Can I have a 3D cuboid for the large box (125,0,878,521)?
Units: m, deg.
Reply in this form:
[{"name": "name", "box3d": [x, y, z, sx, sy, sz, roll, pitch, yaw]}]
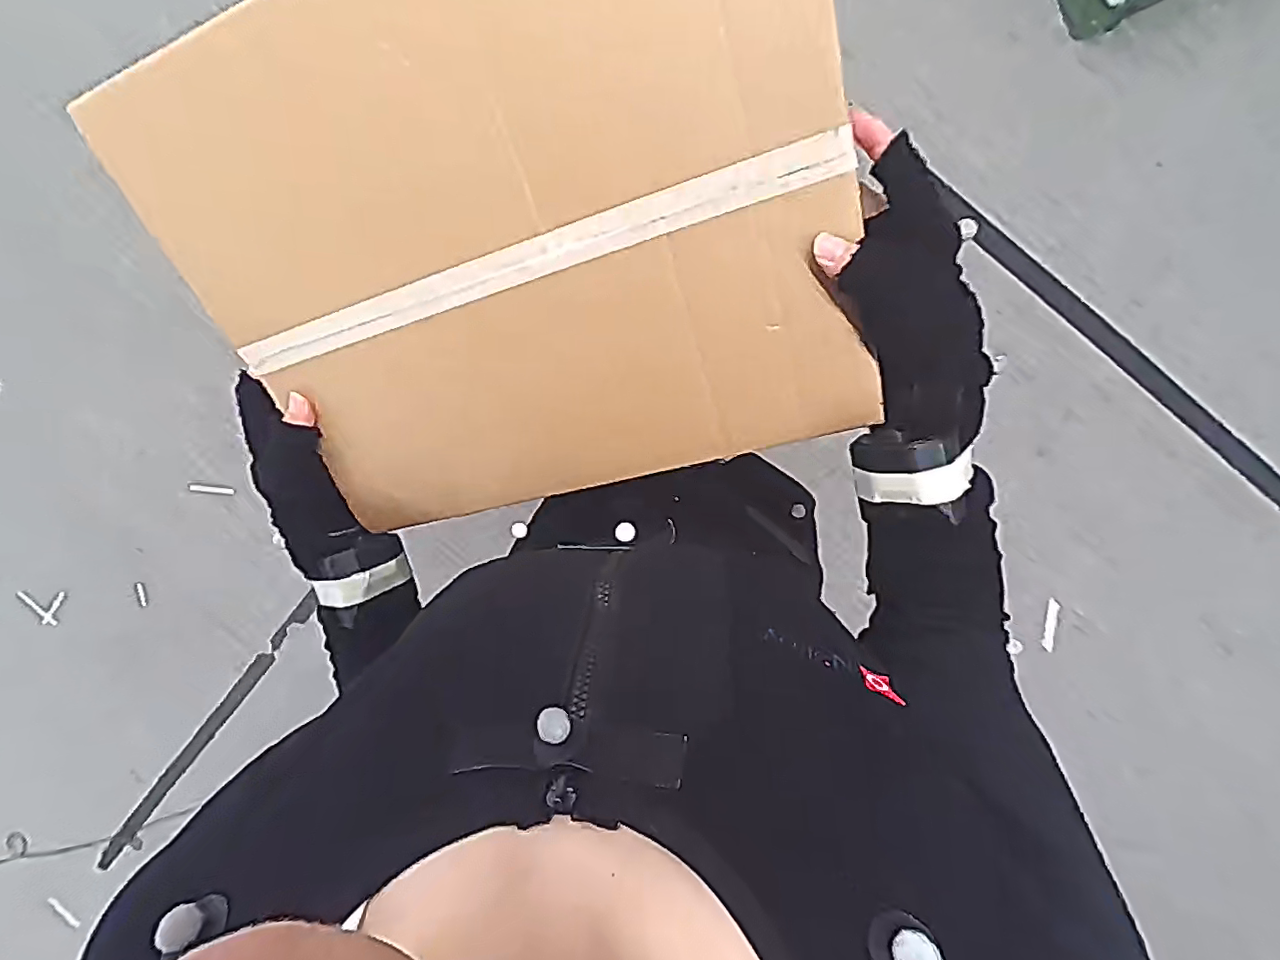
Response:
[{"name": "large box", "box3d": [-0.059, -0.208, 0.462, 0.408, 0.320, 0.320, -12, 121, 16]}]
